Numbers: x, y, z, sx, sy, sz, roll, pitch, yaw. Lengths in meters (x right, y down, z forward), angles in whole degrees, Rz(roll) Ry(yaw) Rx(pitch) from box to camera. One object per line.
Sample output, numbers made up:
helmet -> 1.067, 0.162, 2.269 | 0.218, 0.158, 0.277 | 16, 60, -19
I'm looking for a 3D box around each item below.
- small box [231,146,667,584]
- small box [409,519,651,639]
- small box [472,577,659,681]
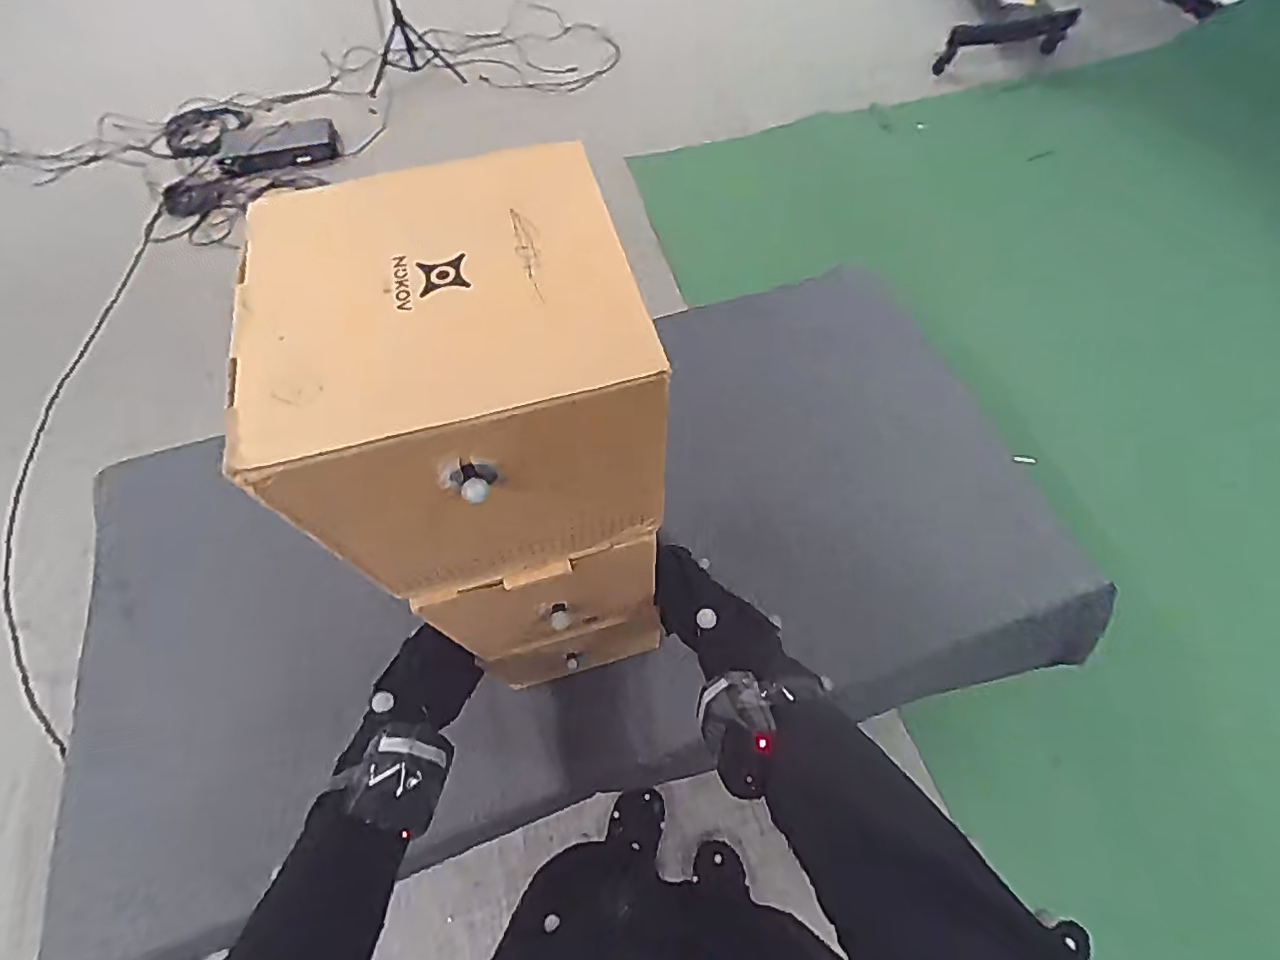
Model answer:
small box -> -0.090, -0.054, 0.318 | 0.179, 0.176, 0.168 | -14, 63, -8
small box -> -0.089, 0.025, 0.460 | 0.168, 0.176, 0.179 | -15, 63, -7
small box -> -0.084, 0.109, 0.600 | 0.179, 0.176, 0.168 | -15, 62, -6
